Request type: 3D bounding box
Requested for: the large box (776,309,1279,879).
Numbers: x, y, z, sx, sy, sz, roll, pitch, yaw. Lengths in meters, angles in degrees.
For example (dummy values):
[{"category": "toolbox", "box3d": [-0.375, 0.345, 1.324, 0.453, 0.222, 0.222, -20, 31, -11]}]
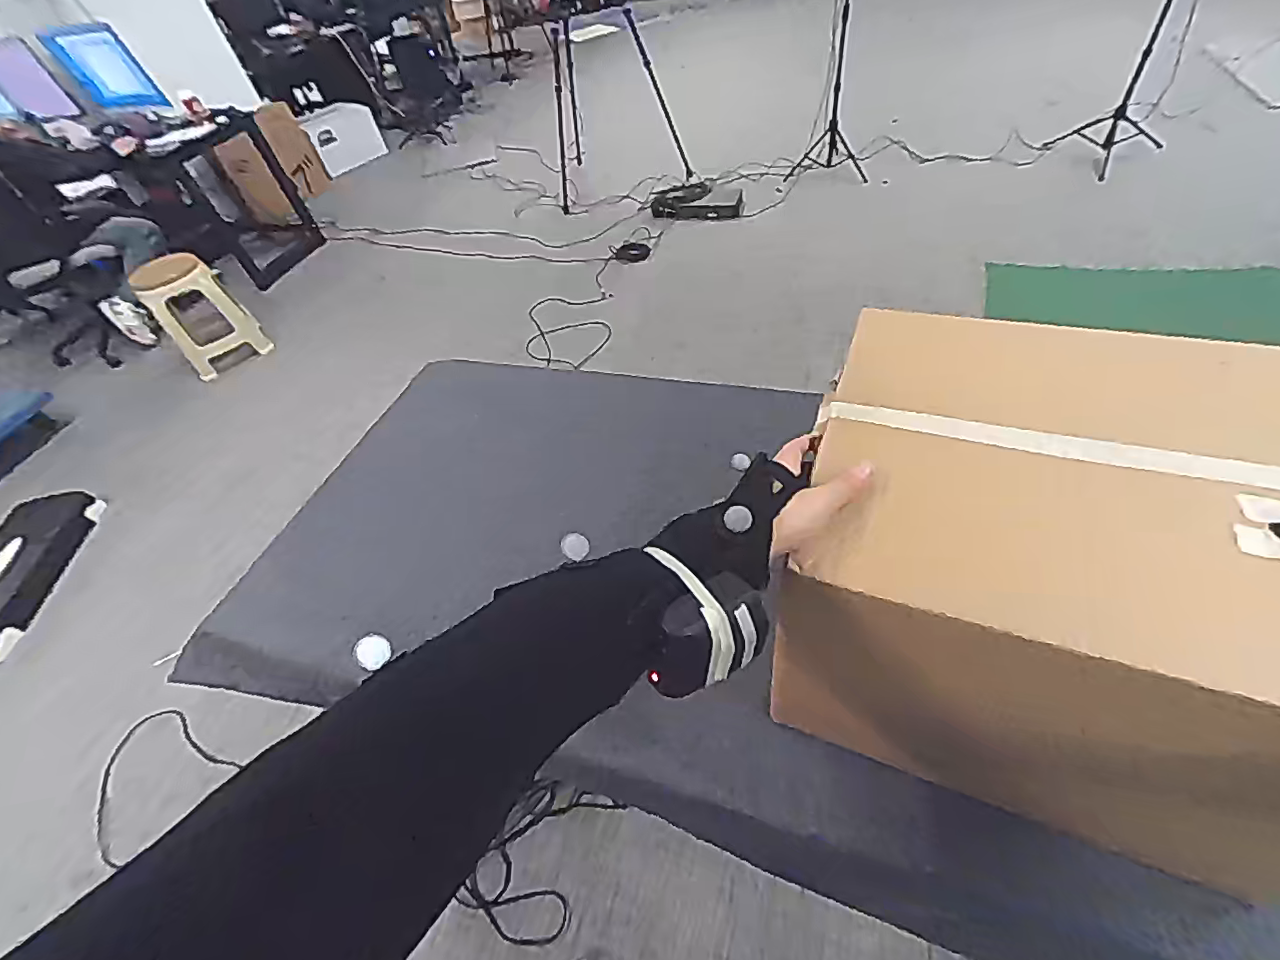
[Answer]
[{"category": "large box", "box3d": [0.362, 0.082, 0.485, 0.408, 0.320, 0.320, 14, 54, 20]}]
